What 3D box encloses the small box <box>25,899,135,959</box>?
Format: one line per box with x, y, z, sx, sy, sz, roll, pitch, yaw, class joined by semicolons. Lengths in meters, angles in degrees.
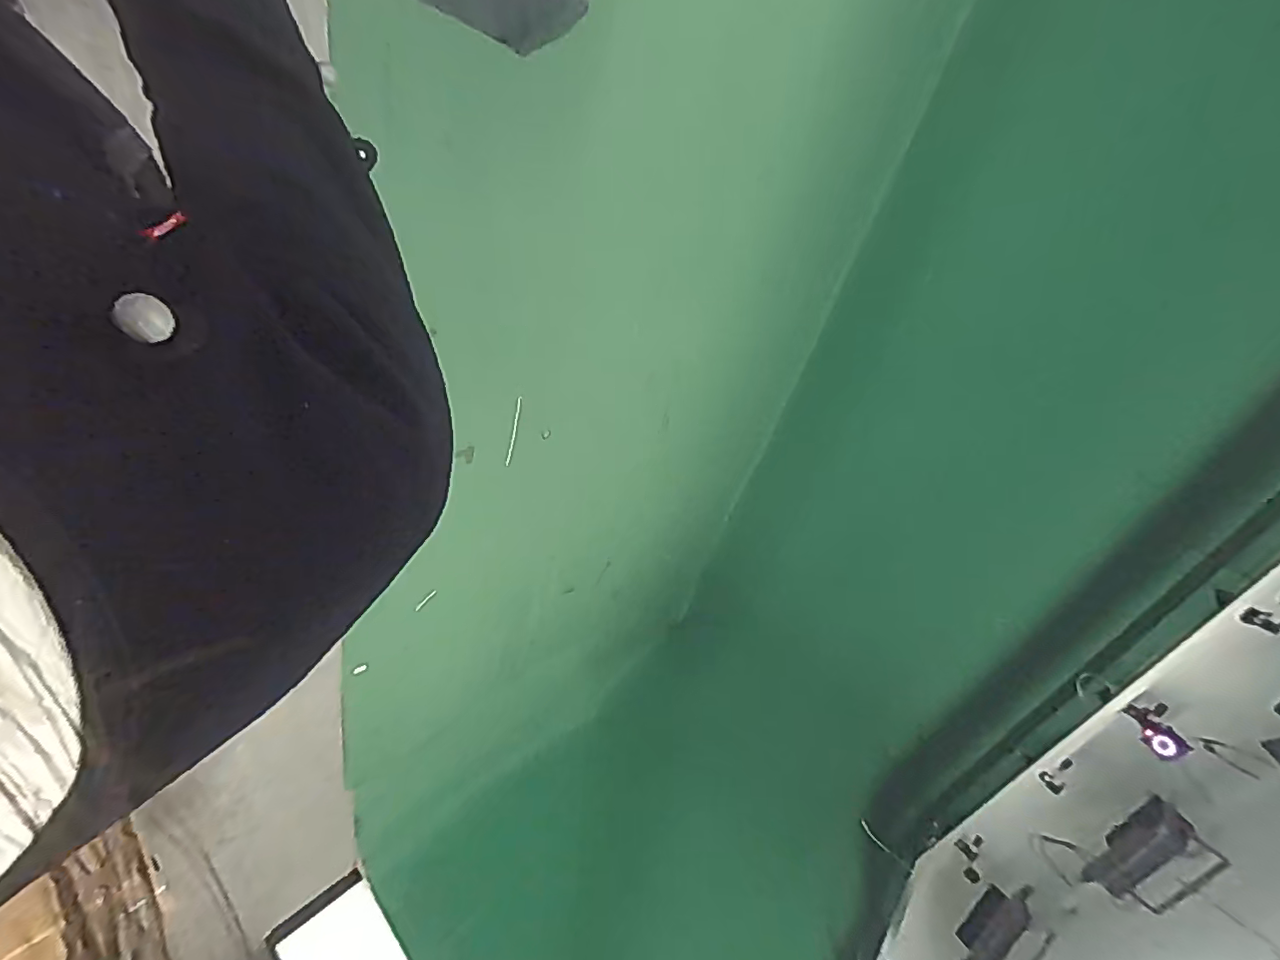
-1.504;1.296;1.456;0.179;0.176;0.168;-23;139;-45;small box
